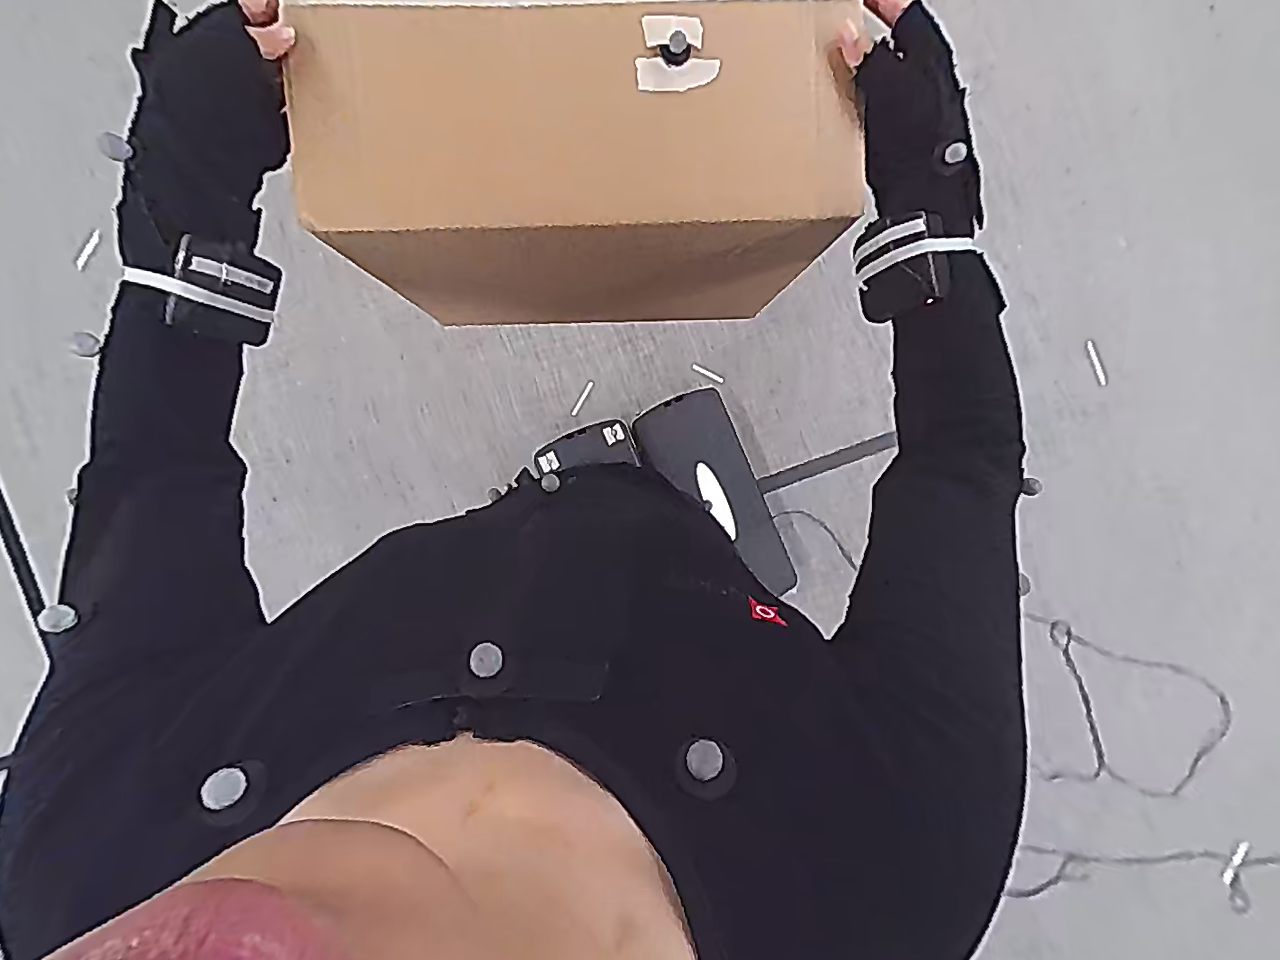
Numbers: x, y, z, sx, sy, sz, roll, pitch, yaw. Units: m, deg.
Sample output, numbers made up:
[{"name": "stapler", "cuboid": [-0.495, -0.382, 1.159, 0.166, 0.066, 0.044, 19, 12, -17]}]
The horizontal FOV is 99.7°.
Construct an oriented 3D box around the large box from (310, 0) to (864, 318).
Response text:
[{"name": "large box", "cuboid": [-0.044, -0.357, 0.538, 0.408, 0.320, 0.320, -2, 95, -3]}]
